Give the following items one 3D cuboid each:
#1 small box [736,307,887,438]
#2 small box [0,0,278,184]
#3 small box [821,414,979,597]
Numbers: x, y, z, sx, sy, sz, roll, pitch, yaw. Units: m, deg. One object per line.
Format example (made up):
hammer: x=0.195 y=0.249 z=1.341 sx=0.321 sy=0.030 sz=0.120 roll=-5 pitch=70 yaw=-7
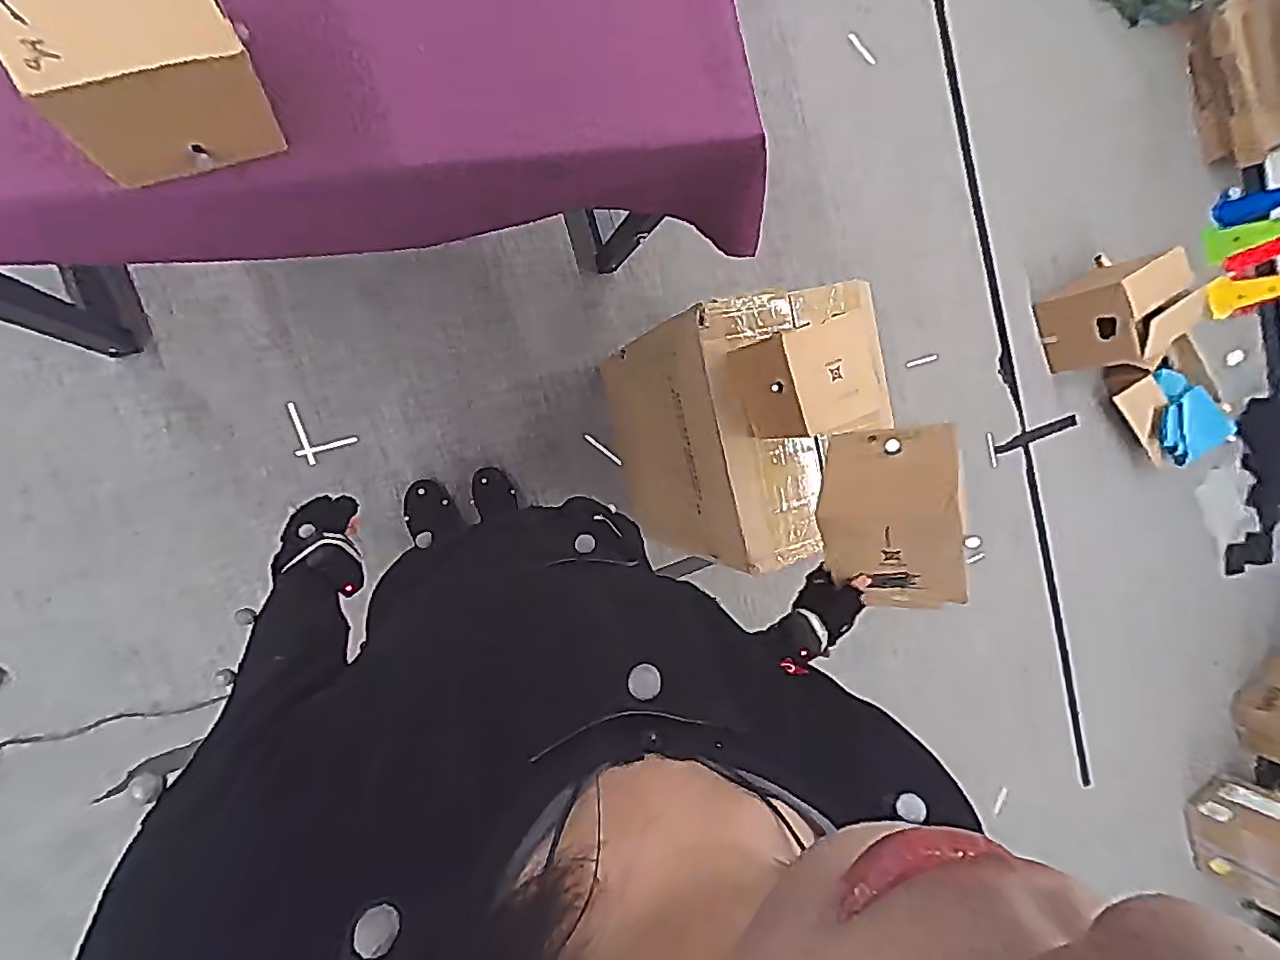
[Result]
small box: x=0.293 y=-0.181 z=0.952 sx=0.168 sy=0.176 sz=0.179 roll=-22 pitch=100 yaw=-17
small box: x=-0.494 y=-0.431 z=0.534 sx=0.179 sy=0.176 sz=0.168 roll=-29 pitch=100 yaw=-19
small box: x=0.358 y=0.035 z=0.732 sx=0.179 sy=0.168 sz=0.176 roll=59 pitch=41 yaw=-34
